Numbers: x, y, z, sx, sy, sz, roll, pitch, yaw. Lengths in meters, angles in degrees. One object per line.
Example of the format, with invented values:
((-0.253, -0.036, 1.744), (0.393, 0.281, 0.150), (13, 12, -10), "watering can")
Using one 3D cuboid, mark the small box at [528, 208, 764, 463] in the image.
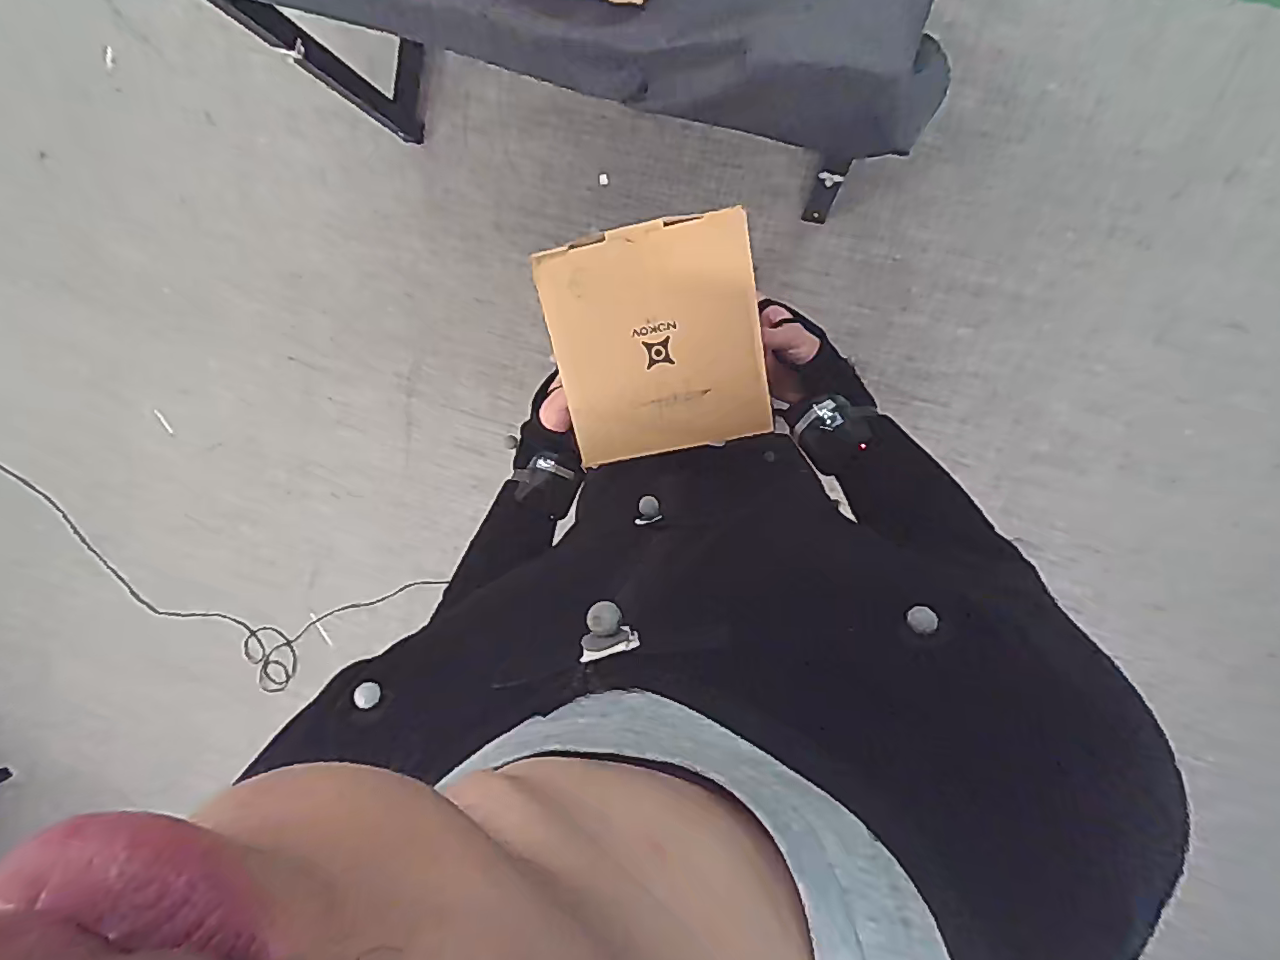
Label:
((0.012, -0.135, 0.504), (0.168, 0.176, 0.179), (-9, 111, 7), "small box")
